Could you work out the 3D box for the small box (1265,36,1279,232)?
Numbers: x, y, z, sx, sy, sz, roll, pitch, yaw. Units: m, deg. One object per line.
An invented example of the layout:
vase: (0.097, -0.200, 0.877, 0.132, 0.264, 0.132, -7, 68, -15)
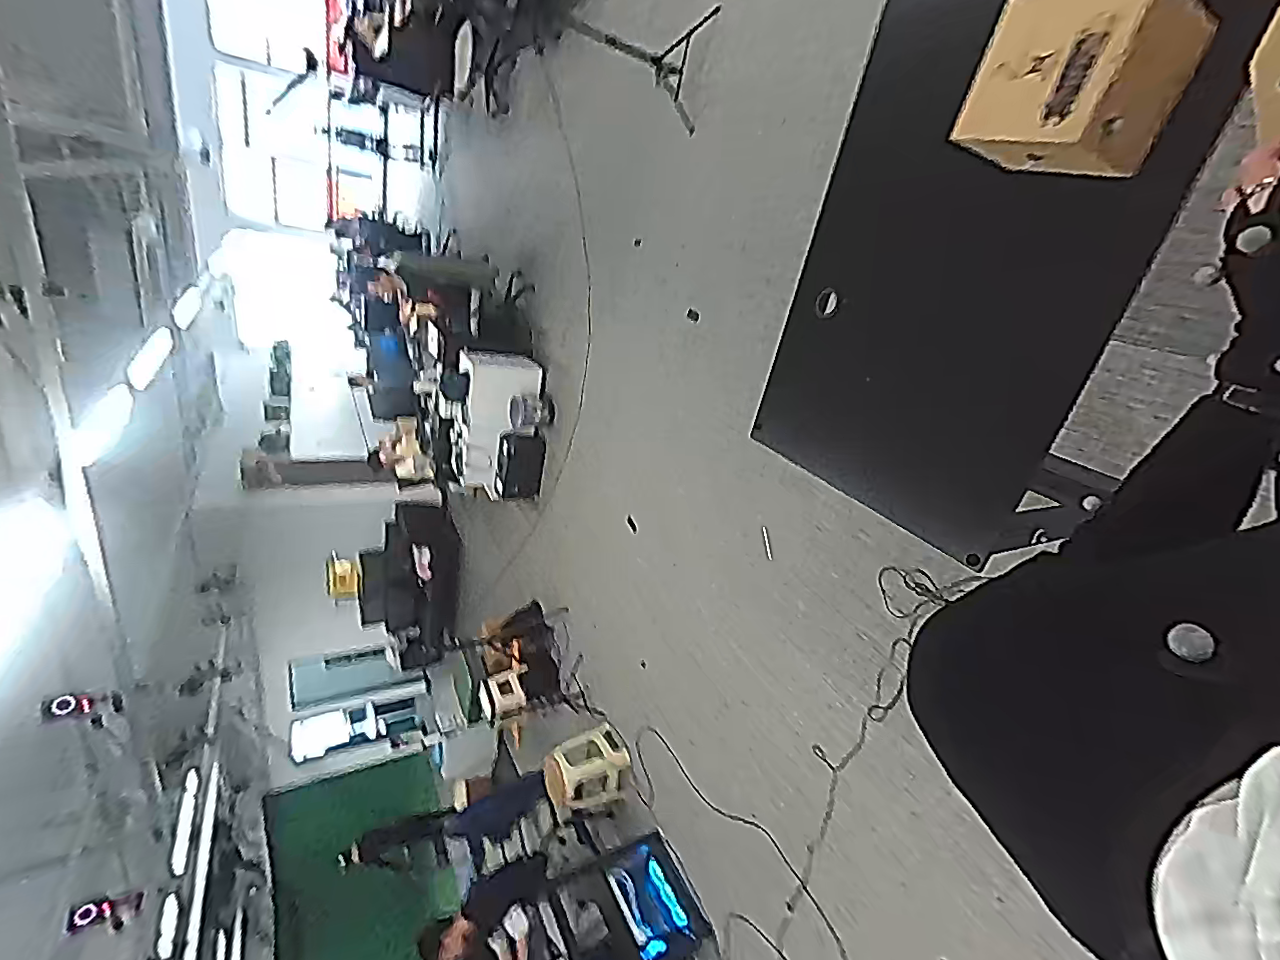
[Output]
small box: (0.545, -0.275, 0.343, 0.168, 0.176, 0.179, -4, 91, 38)
